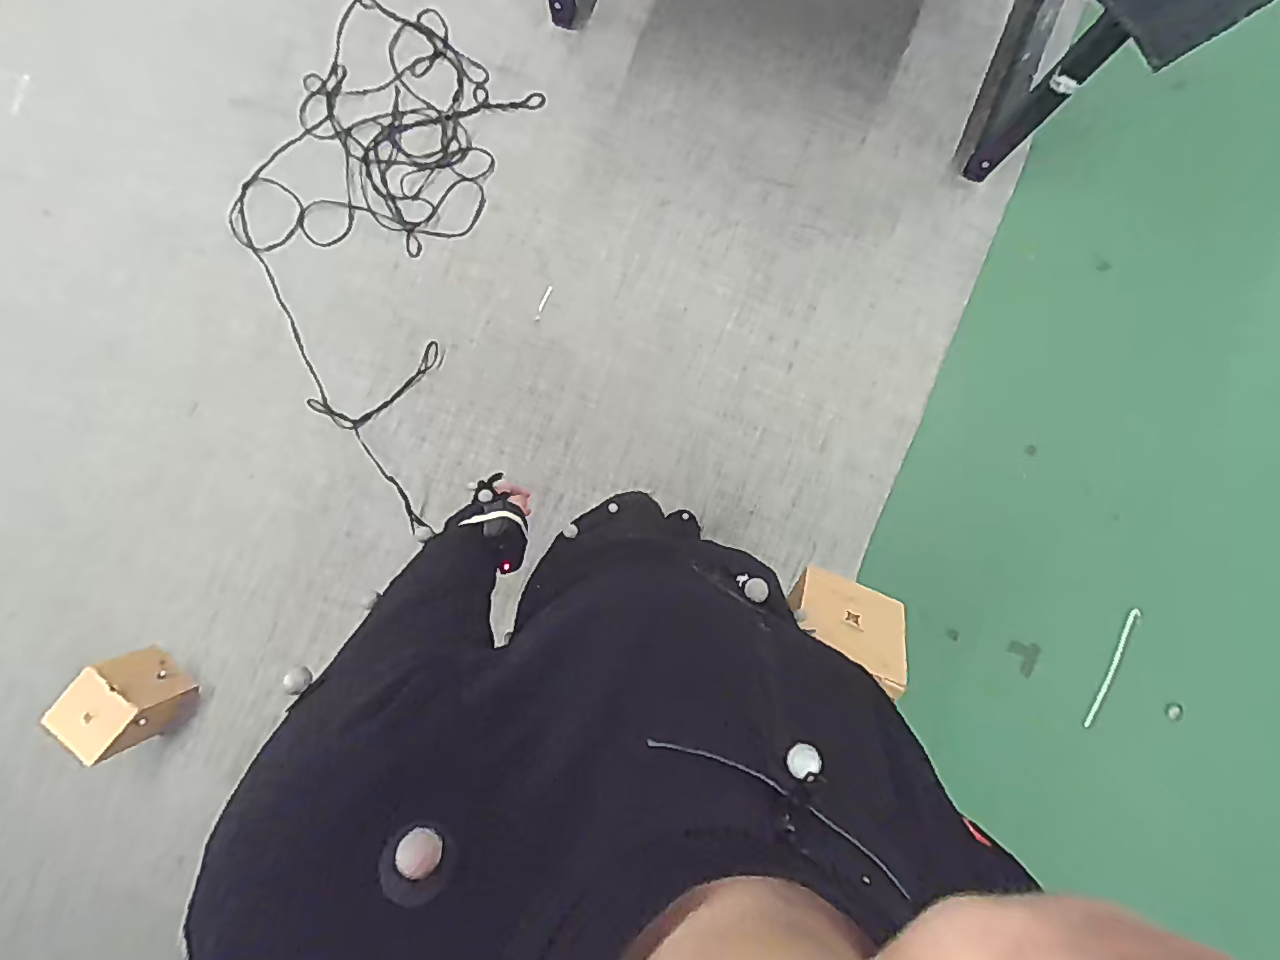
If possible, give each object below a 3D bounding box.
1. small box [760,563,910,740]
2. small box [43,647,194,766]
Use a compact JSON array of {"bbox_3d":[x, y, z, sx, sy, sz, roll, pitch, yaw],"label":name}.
[{"bbox_3d":[0.305,0.273,0.861,0.168,0.179,0.176,24,126,9],"label":"small box"},{"bbox_3d":[-1.259,0.543,1.320,0.168,0.176,0.179,41,90,3],"label":"small box"}]
